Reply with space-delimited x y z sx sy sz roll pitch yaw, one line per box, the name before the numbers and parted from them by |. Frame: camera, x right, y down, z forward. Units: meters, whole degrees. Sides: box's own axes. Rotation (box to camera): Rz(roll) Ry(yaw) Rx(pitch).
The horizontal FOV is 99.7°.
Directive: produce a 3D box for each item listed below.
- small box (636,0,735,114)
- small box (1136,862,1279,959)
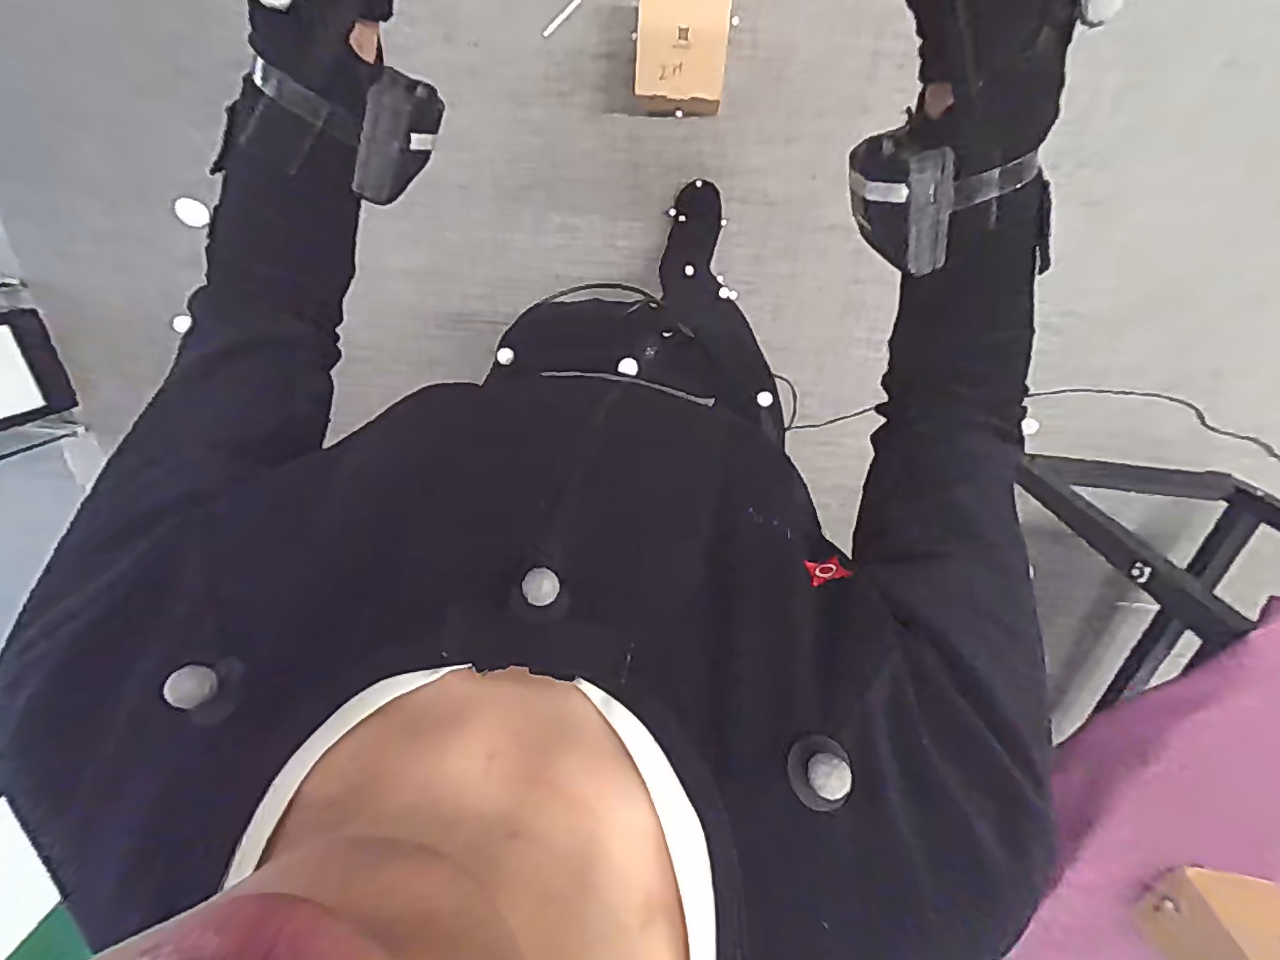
small box | 0.086 -0.830 1.042 0.168 0.176 0.179 6 117 3
small box | 1.049 0.808 0.944 0.179 0.176 0.168 11 116 1
